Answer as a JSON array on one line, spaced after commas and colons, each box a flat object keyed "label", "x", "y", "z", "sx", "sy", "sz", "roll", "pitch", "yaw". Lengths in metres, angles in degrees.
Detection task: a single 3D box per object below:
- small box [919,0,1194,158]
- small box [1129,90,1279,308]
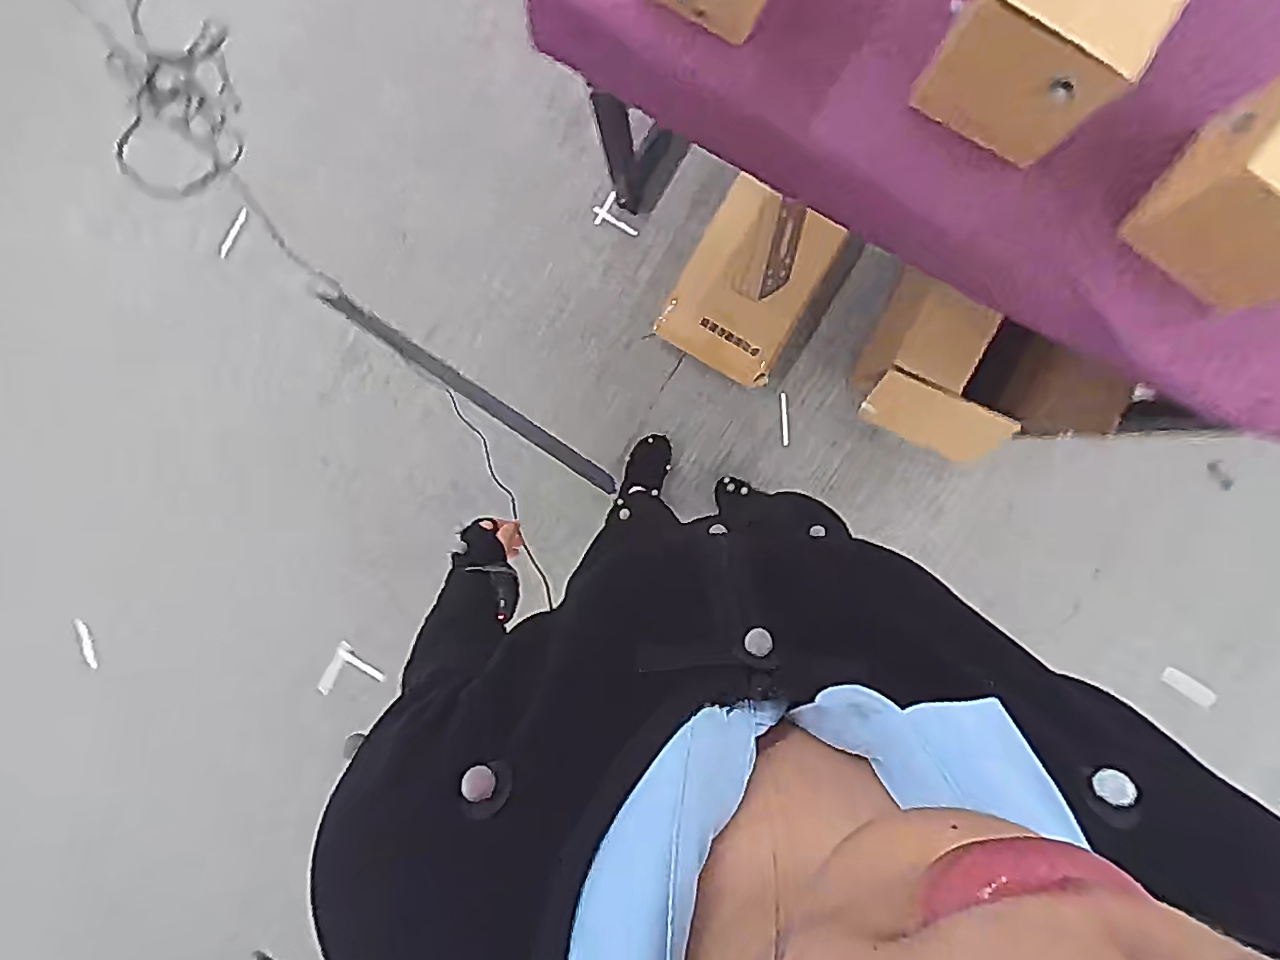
[{"label": "small box", "x": 0.461, "y": -0.504, "z": 0.604, "sx": 0.179, "sy": 0.176, "sz": 0.168, "roll": 31, "pitch": 93, "yaw": 2}, {"label": "small box", "x": 0.720, "y": -0.318, "z": 0.599, "sx": 0.179, "sy": 0.176, "sz": 0.168, "roll": 38, "pitch": 96, "yaw": 1}]
